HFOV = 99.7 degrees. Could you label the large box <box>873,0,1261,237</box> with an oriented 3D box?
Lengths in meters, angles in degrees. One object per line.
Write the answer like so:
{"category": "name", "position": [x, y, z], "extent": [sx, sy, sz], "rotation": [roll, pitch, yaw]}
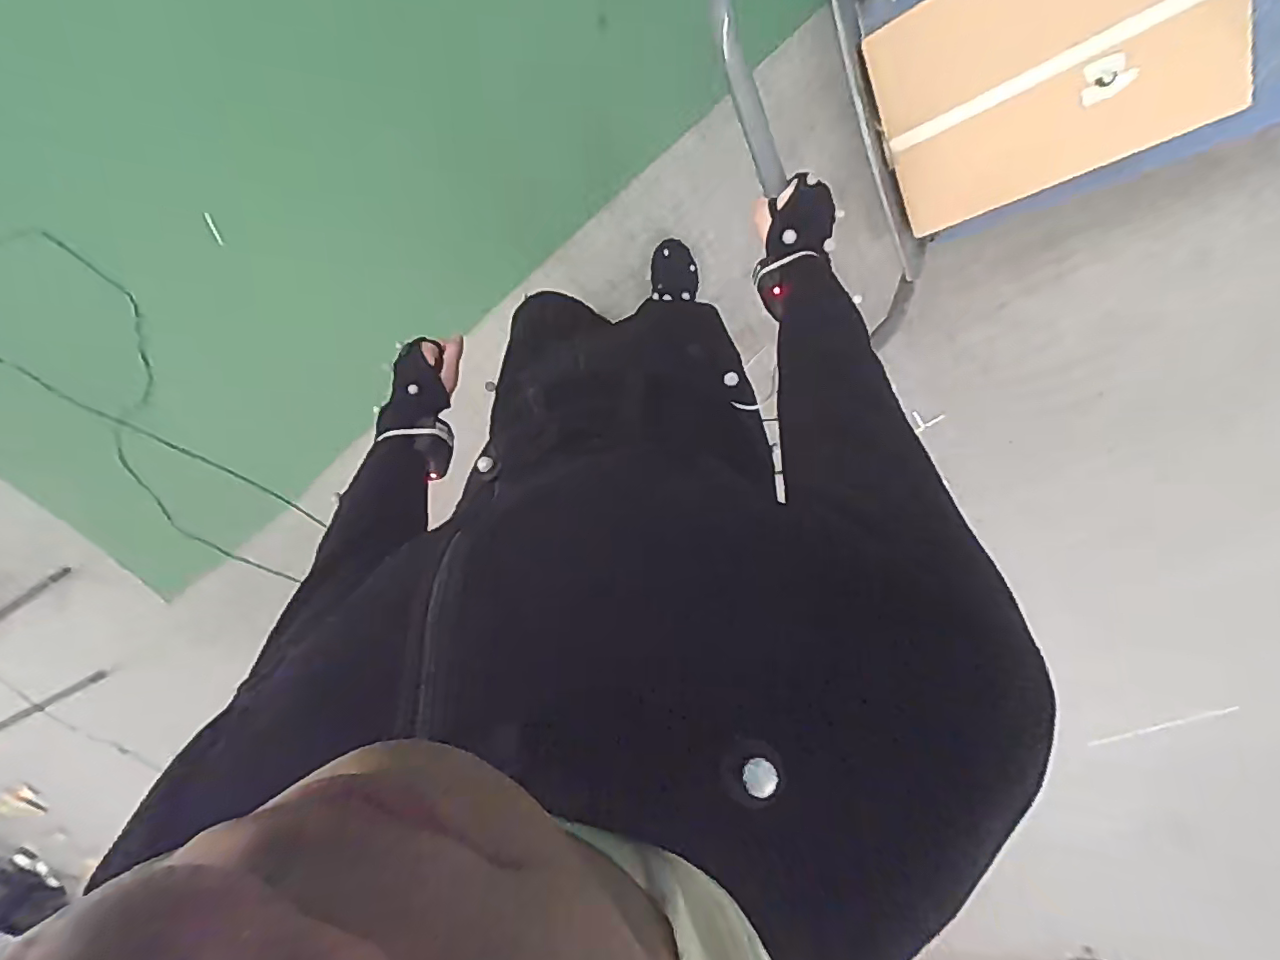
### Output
{"category": "large box", "position": [0.631, -0.652, 0.862], "extent": [0.408, 0.320, 0.320], "rotation": [-12, 118, 35]}
